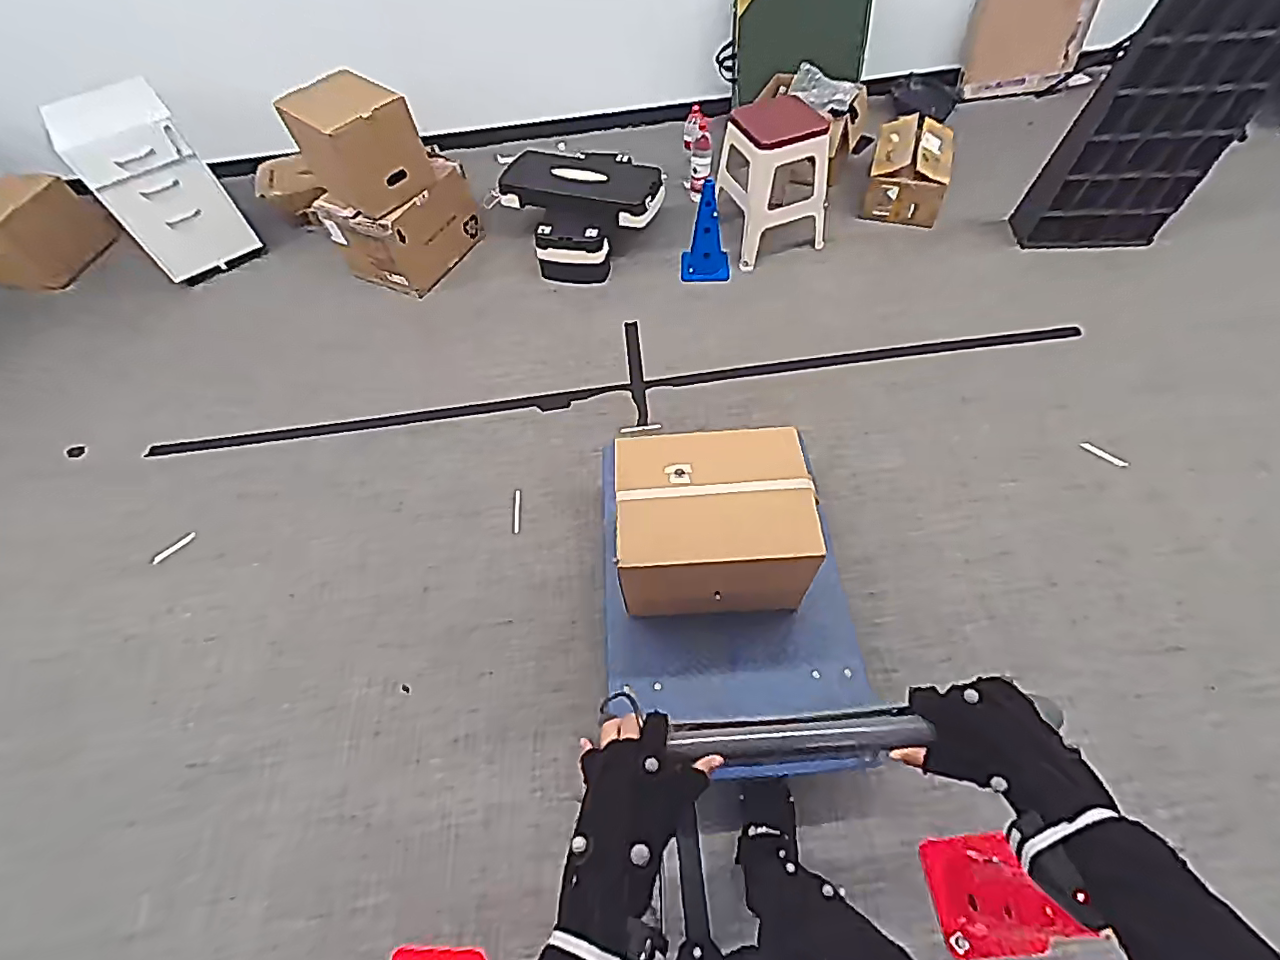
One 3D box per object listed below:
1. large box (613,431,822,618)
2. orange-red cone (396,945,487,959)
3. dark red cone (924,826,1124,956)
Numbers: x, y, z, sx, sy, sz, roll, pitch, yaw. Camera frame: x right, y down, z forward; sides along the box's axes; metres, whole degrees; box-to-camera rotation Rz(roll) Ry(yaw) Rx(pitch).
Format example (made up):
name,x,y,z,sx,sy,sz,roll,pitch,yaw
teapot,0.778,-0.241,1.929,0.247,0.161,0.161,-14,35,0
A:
name,x,y,z,sx,sy,sz,roll,pitch,yaw
large box,0.158,0.114,1.247,0.408,0.320,0.320,-4,58,2
orange-red cone,-0.419,0.953,0.923,0.198,0.360,0.199,0,56,4
dark red cone,0.693,0.734,0.951,0.201,0.394,0.202,-6,57,-1
